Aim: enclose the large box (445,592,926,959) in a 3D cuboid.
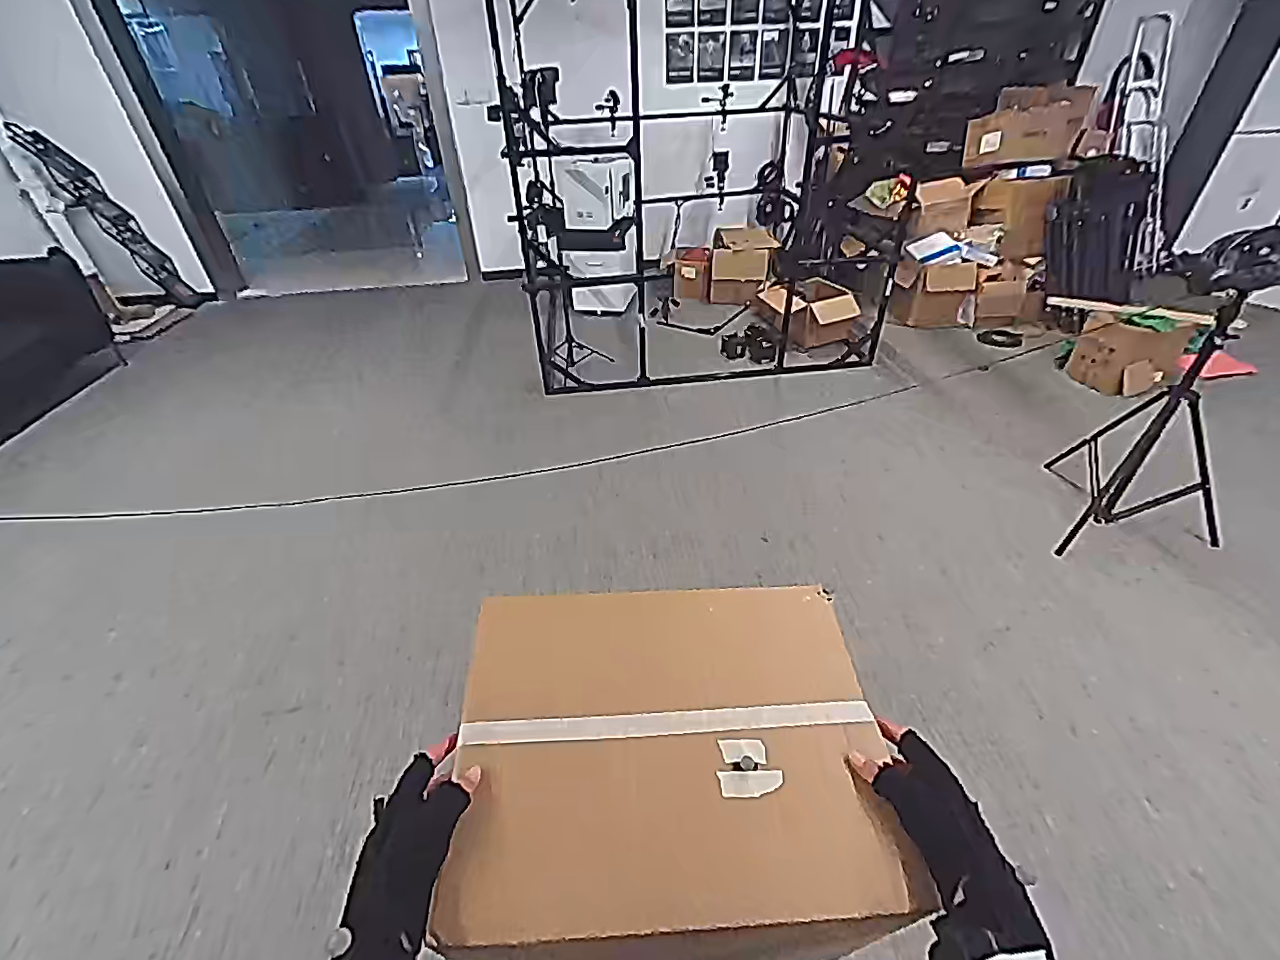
[{"bbox_3d":[0.028,0.357,0.642,0.408,0.320,0.320,-1,43,-4],"label":"large box"}]
